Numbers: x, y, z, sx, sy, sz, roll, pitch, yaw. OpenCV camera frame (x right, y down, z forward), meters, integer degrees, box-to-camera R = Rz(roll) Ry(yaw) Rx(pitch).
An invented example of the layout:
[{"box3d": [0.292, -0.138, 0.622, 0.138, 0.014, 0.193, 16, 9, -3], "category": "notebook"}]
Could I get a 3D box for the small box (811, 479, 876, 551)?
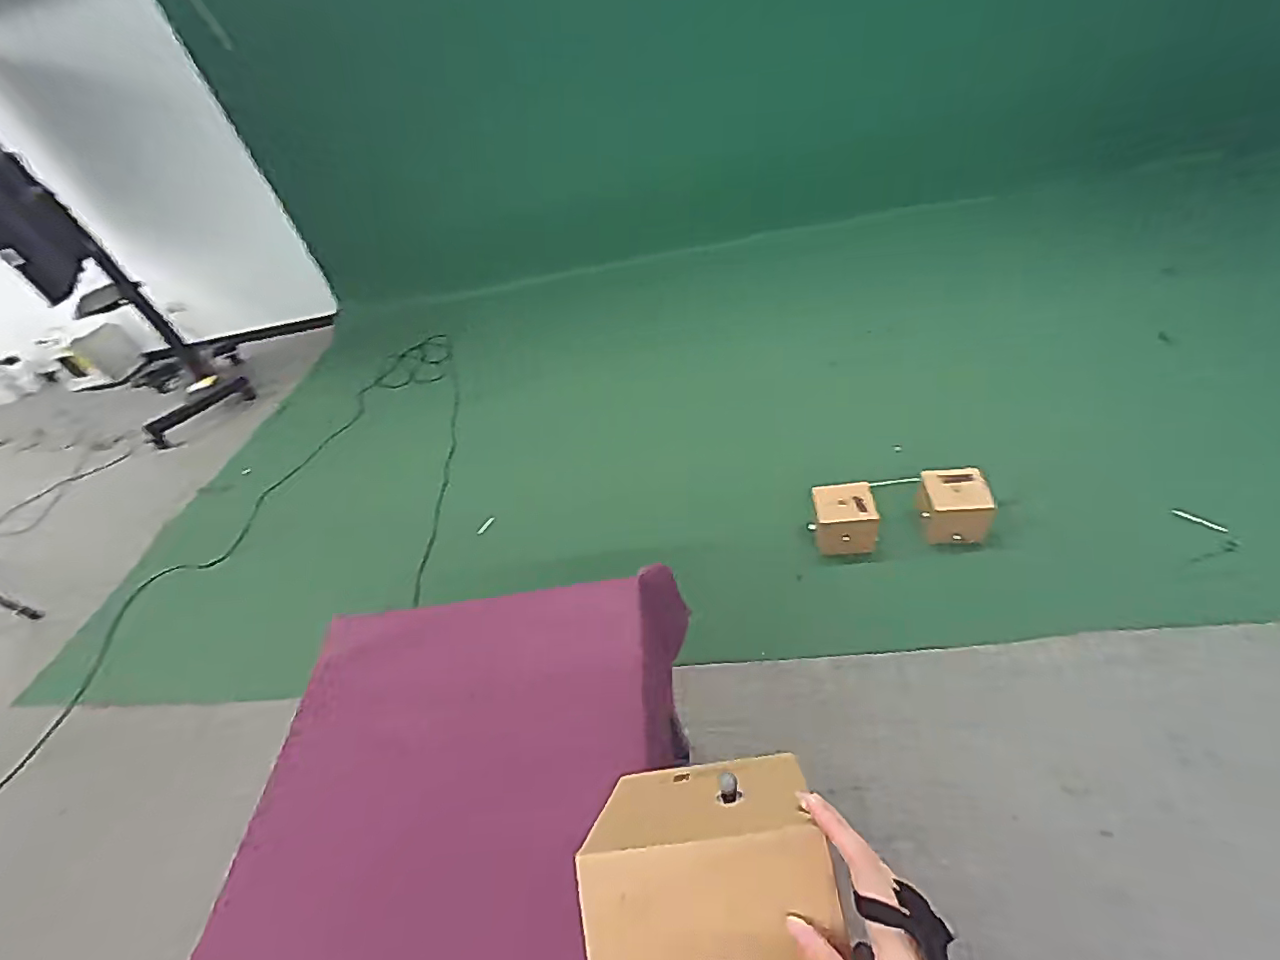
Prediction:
[{"box3d": [0.668, 0.119, 1.793, 0.179, 0.176, 0.168, -7, 43, 12], "category": "small box"}]
